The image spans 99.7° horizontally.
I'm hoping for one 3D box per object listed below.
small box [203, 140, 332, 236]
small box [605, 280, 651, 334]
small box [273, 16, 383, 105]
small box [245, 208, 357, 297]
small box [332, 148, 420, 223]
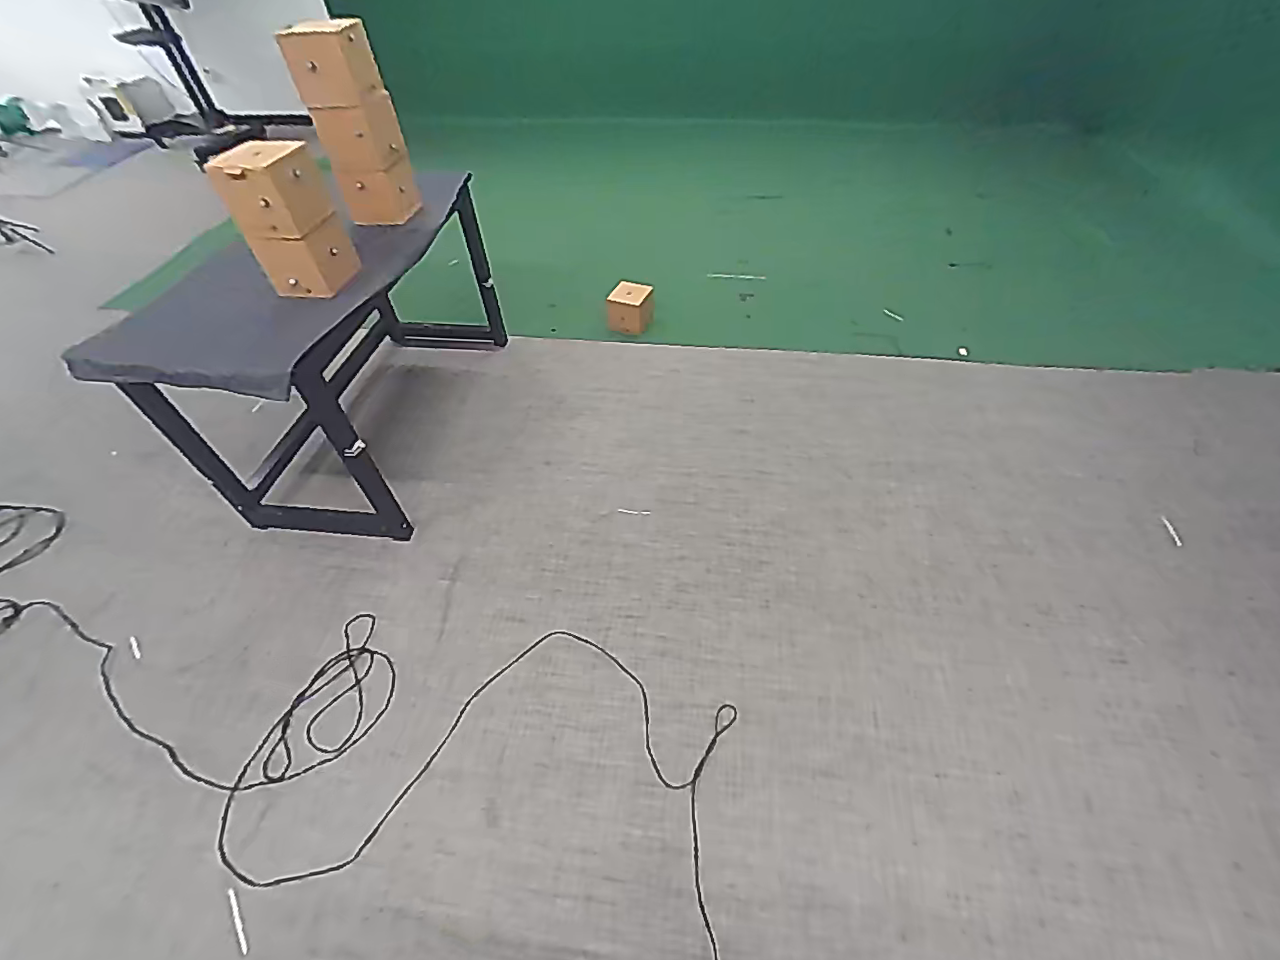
[{"bbox_3d":[-0.909,-0.724,1.344,0.168,0.176,0.179,6,49,7],"label":"small box"},{"bbox_3d":[-0.051,-0.823,2.580,0.168,0.176,0.179,18,52,16],"label":"small box"},{"bbox_3d":[-0.860,-1.168,1.509,0.179,0.176,0.168,1,50,5],"label":"small box"},{"bbox_3d":[-0.905,-0.620,1.469,0.168,0.176,0.179,5,50,7],"label":"small box"},{"bbox_3d":[-0.845,-0.954,1.758,0.179,0.176,0.168,4,49,7],"label":"small box"}]
